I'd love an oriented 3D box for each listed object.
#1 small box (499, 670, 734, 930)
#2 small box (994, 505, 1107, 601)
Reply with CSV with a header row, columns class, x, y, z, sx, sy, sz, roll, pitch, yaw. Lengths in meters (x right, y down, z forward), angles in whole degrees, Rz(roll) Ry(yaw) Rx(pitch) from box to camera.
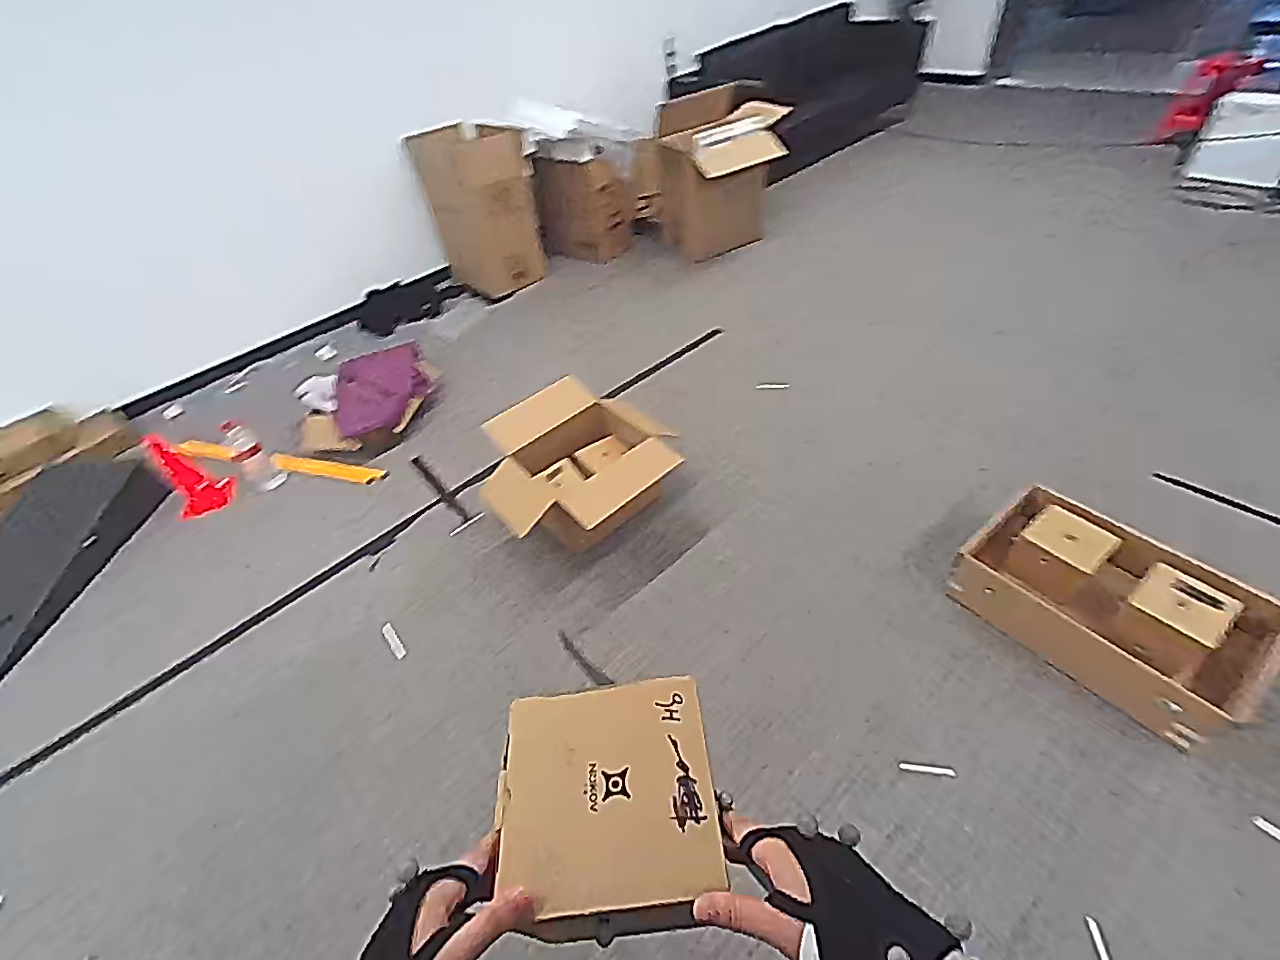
class,x,y,z,sx,sy,sz,roll,pitch,yaw
small box,-0.013,0.303,0.509,0.179,0.176,0.168,-9,45,3
small box,1.161,0.211,1.546,0.168,0.176,0.179,-34,51,-19
